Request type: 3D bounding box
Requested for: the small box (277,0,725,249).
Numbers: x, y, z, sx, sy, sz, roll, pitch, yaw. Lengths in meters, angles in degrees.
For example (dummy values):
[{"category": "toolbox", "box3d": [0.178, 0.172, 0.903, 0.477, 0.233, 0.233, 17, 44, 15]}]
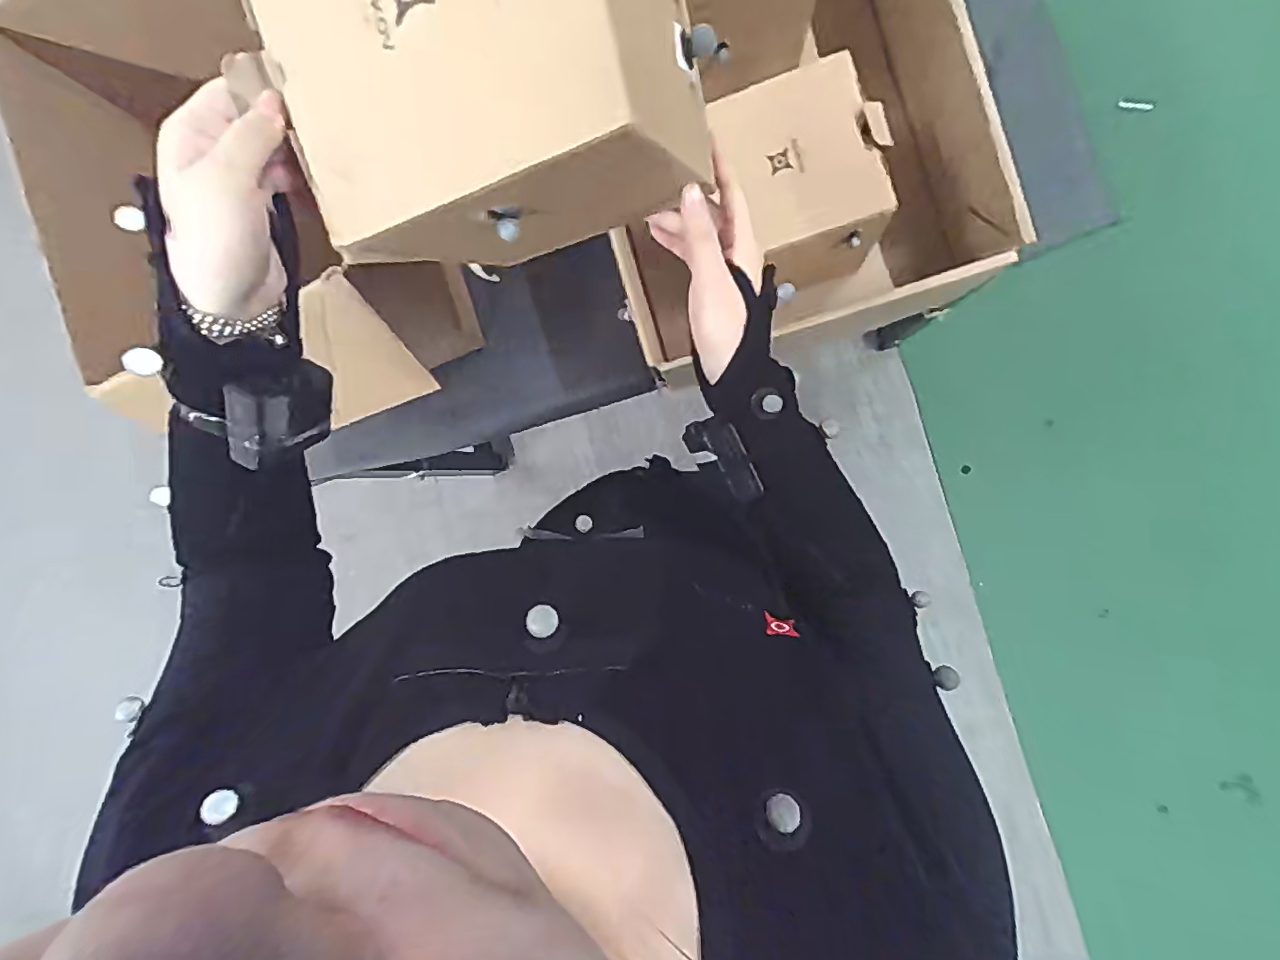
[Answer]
[{"category": "small box", "box3d": [-0.063, -0.240, 0.307, 0.179, 0.176, 0.168, -7, 107, 22]}]
